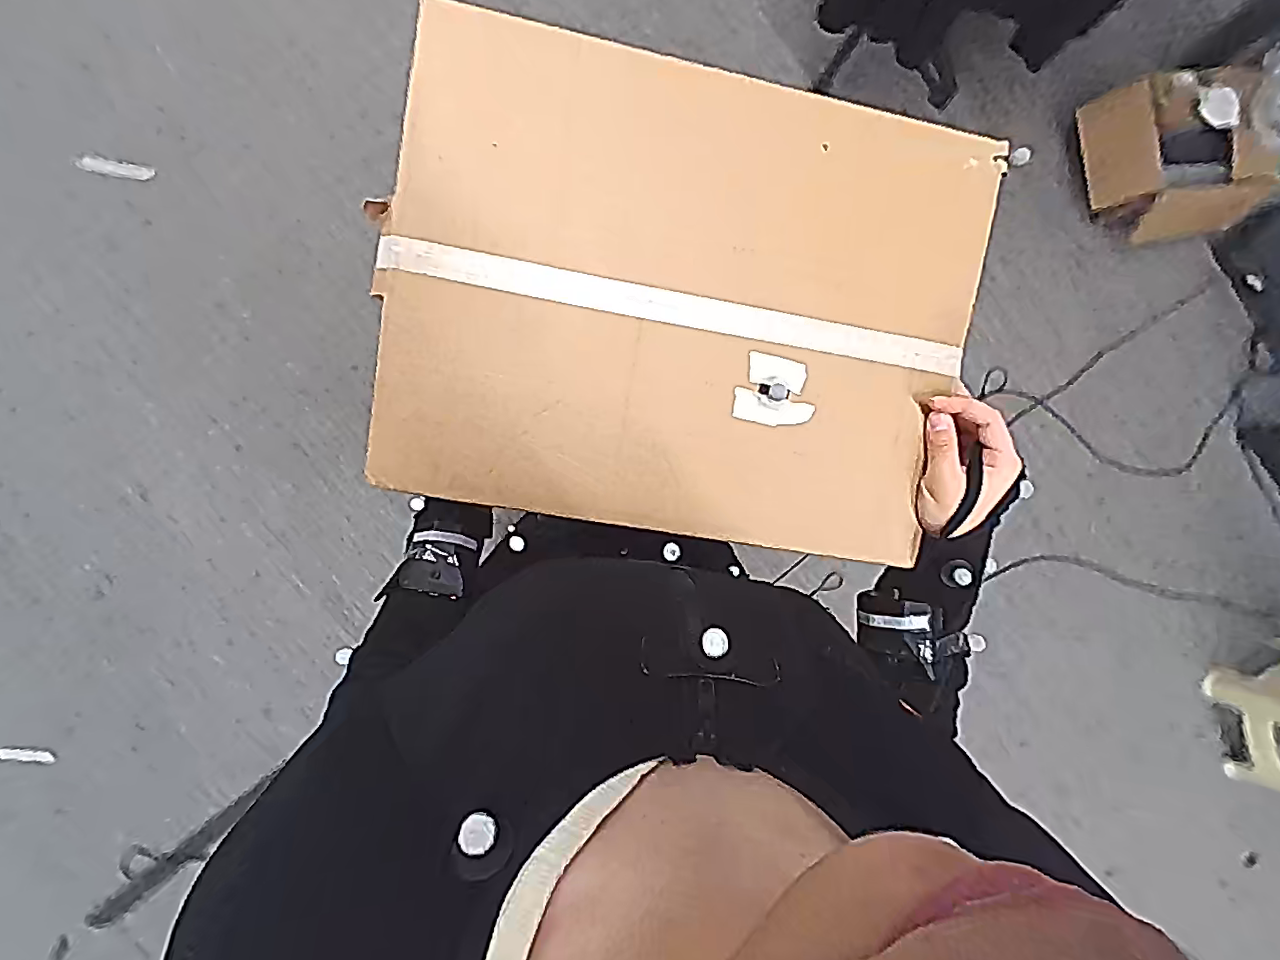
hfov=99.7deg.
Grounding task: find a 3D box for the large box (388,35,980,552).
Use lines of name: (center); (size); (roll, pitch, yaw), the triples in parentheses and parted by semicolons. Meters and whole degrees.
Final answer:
large box: (0.018, -0.131, 0.531); (0.408, 0.320, 0.320); (7, 97, -8)
